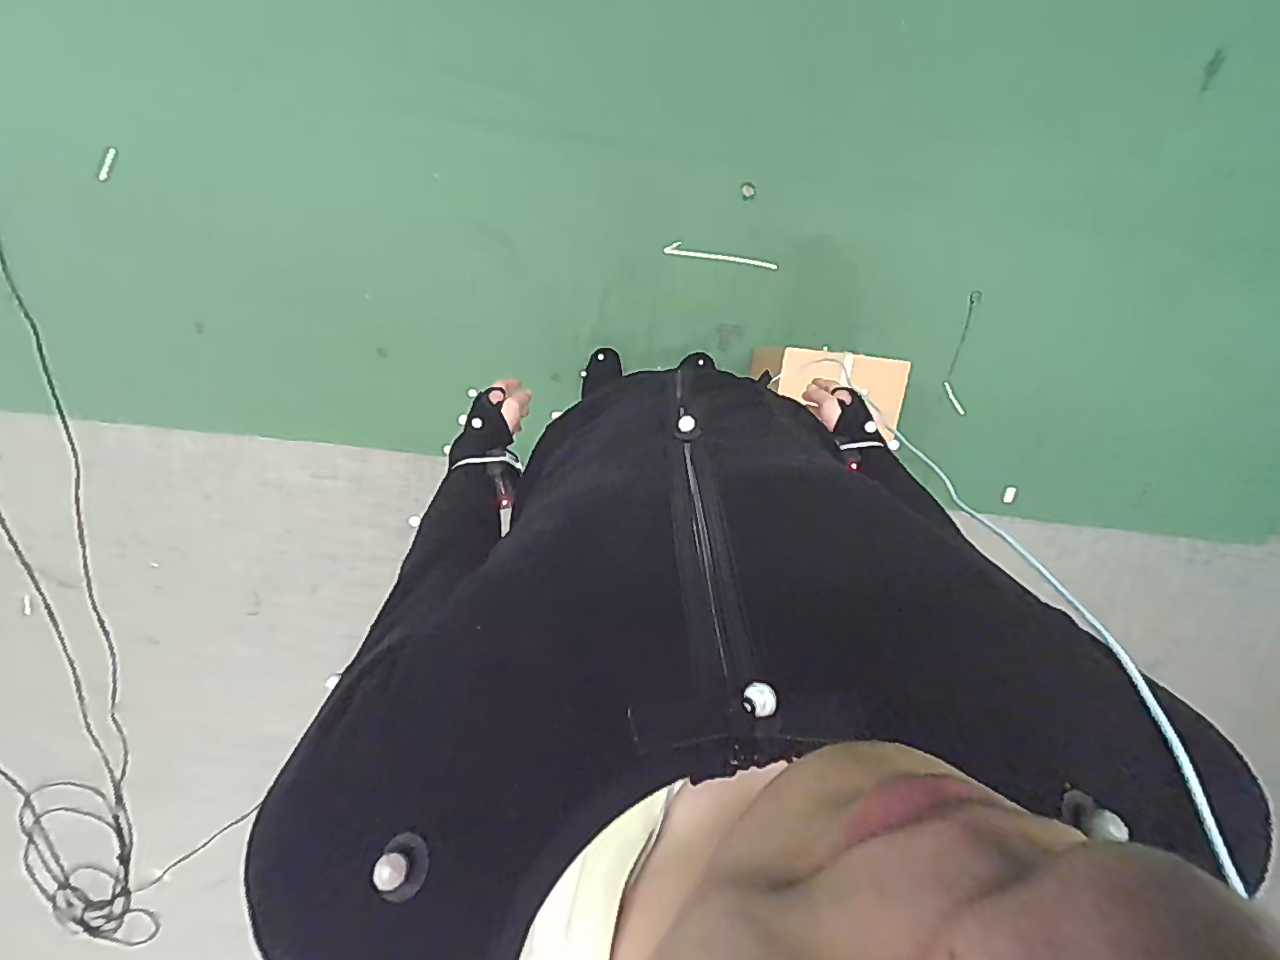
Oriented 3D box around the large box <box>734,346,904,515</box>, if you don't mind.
[{"bbox_3d":[0.463,-0.150,1.487,0.320,0.320,0.408,6,105,-3],"label":"large box"}]
